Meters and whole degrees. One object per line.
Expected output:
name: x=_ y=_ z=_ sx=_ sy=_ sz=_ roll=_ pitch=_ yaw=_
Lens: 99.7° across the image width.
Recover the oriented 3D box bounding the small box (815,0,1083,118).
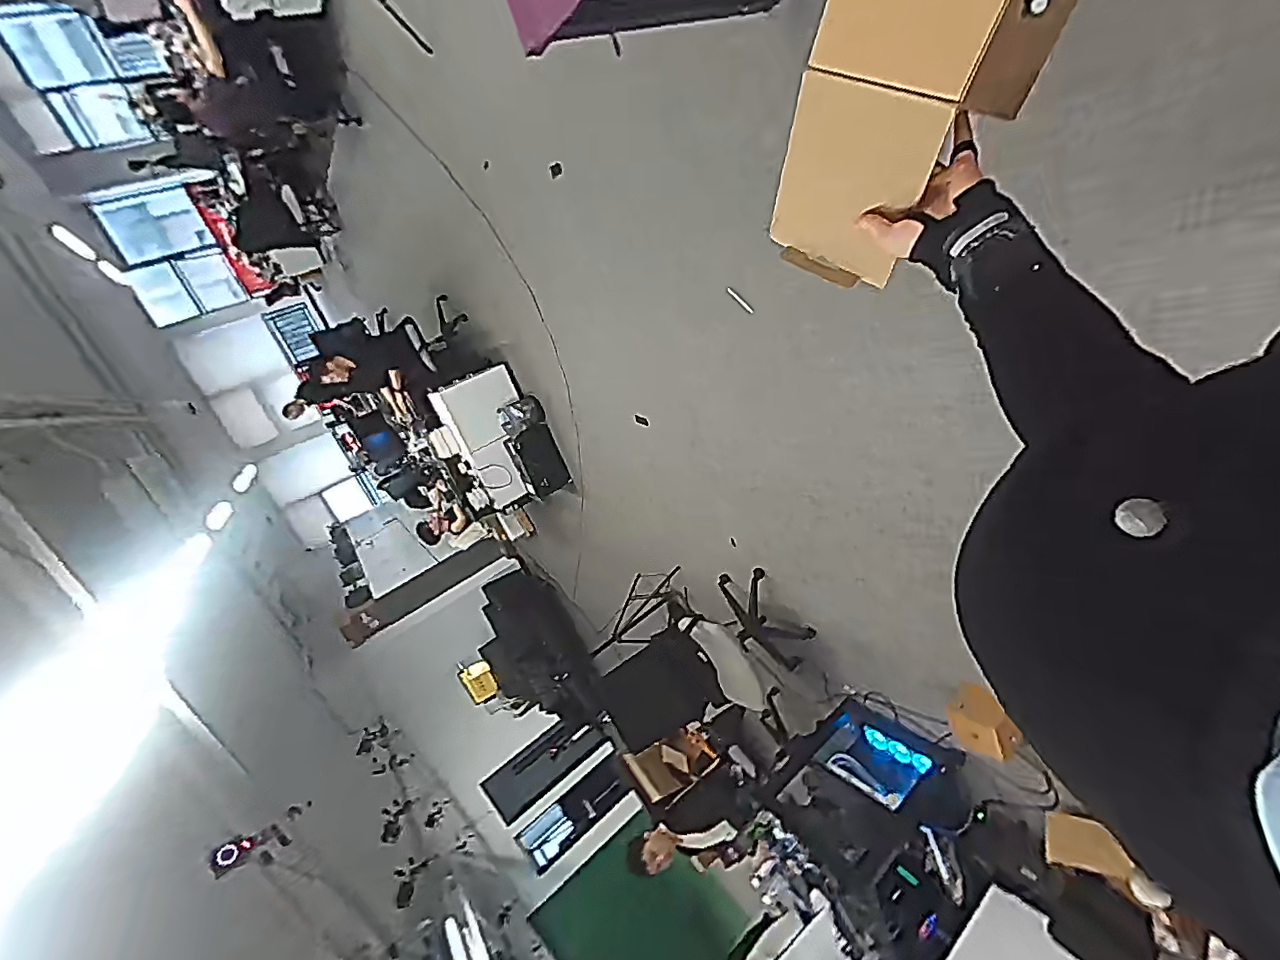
small box: x=0.308 y=-0.467 z=0.514 sx=0.168 sy=0.176 sz=0.179 roll=42 pitch=136 yaw=29
